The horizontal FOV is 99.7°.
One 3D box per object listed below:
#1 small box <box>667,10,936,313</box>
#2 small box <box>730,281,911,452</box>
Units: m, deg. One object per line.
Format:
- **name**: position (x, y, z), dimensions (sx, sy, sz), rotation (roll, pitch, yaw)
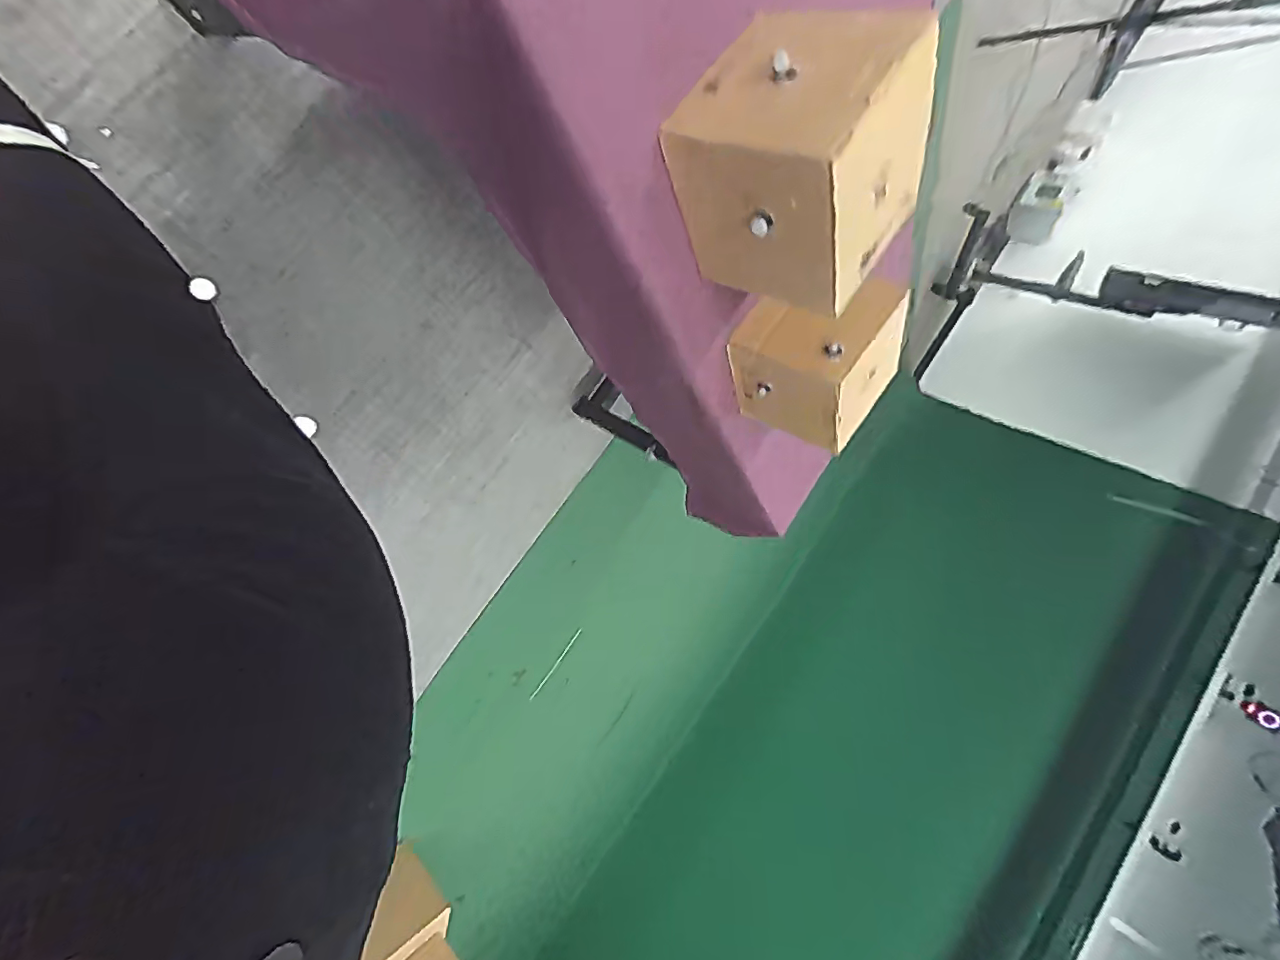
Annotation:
- **small box**: position (0.150, -0.296, 0.515), dimensions (0.168, 0.176, 0.179), rotation (-53, 149, -9)
- **small box**: position (0.251, -0.178, 0.770), dimensions (0.179, 0.176, 0.168), rotation (-50, 148, -13)
